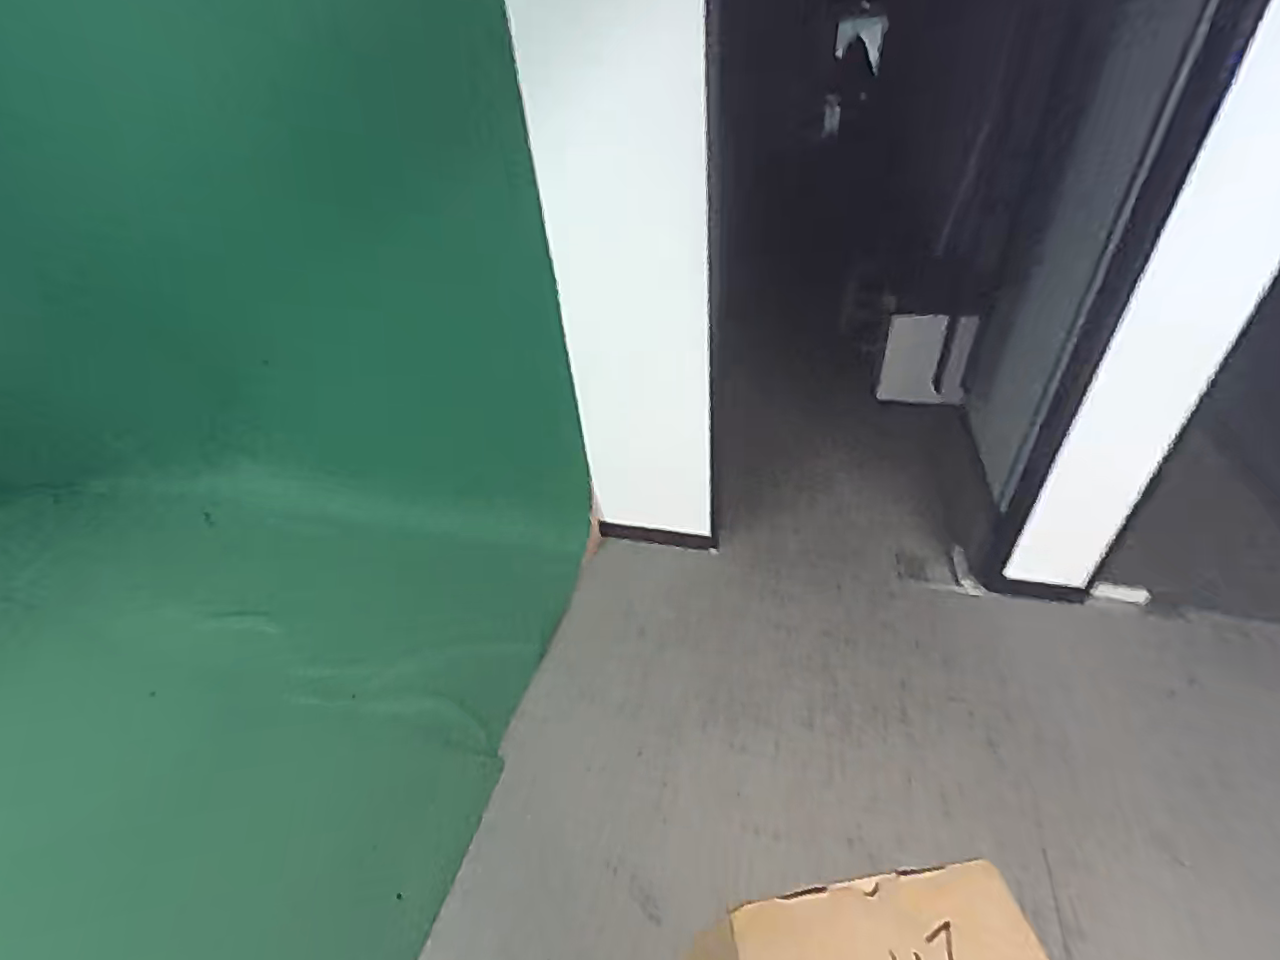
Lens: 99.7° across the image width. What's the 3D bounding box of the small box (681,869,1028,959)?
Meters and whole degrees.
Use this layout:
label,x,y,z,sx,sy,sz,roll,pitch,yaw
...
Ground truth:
label,x,y,z,sx,sy,sz,roll,pitch,yaw
small box,0.122,0.346,0.290,0.168,0.176,0.179,0,40,-12
